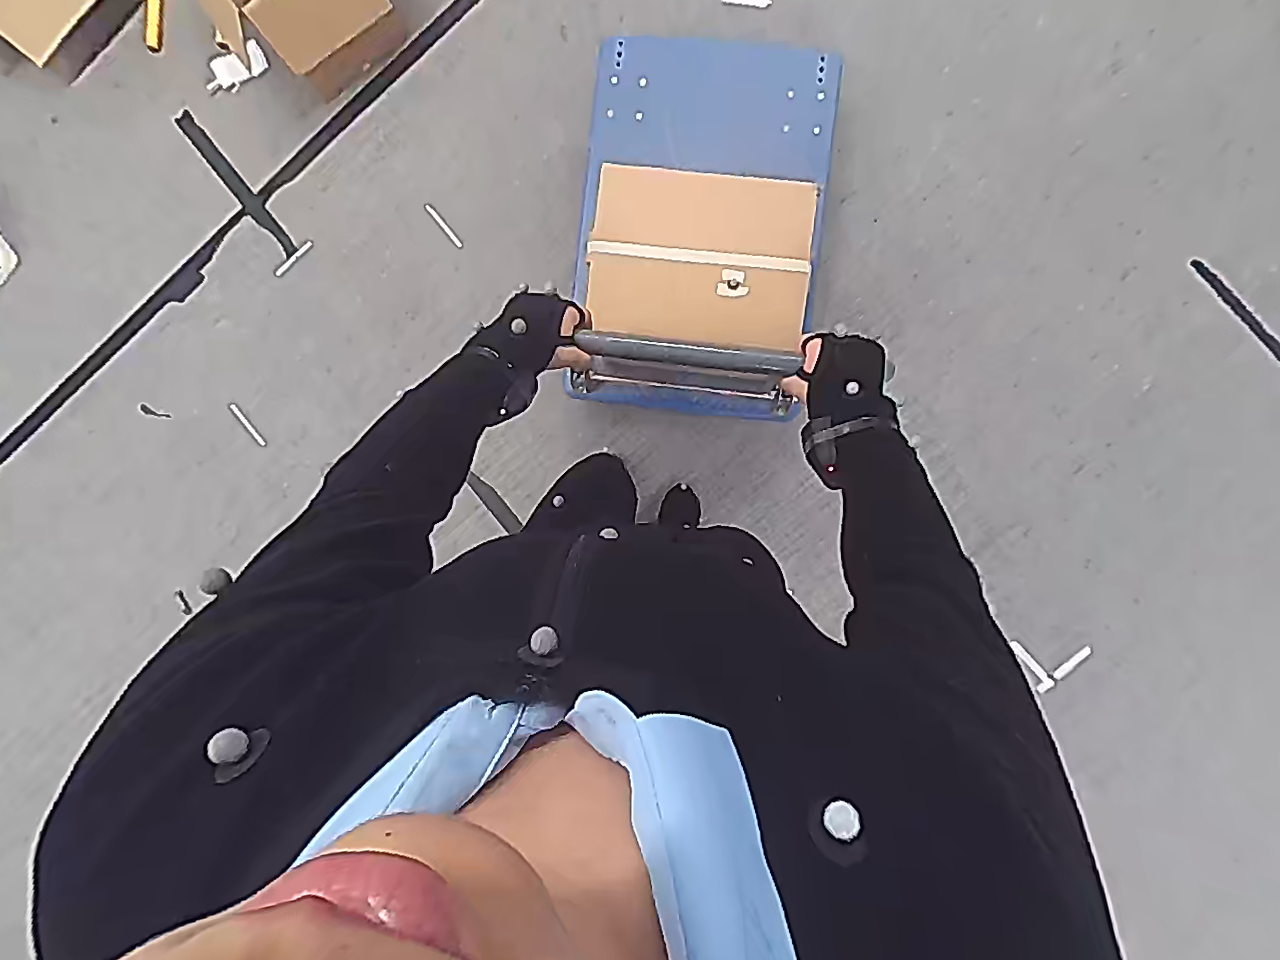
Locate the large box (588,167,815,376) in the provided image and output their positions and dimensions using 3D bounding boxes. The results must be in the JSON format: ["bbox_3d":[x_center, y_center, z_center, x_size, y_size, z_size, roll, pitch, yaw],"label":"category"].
[{"bbox_3d":[0.115,-0.416,1.153,0.408,0.320,0.320,7,92,1],"label":"large box"}]
